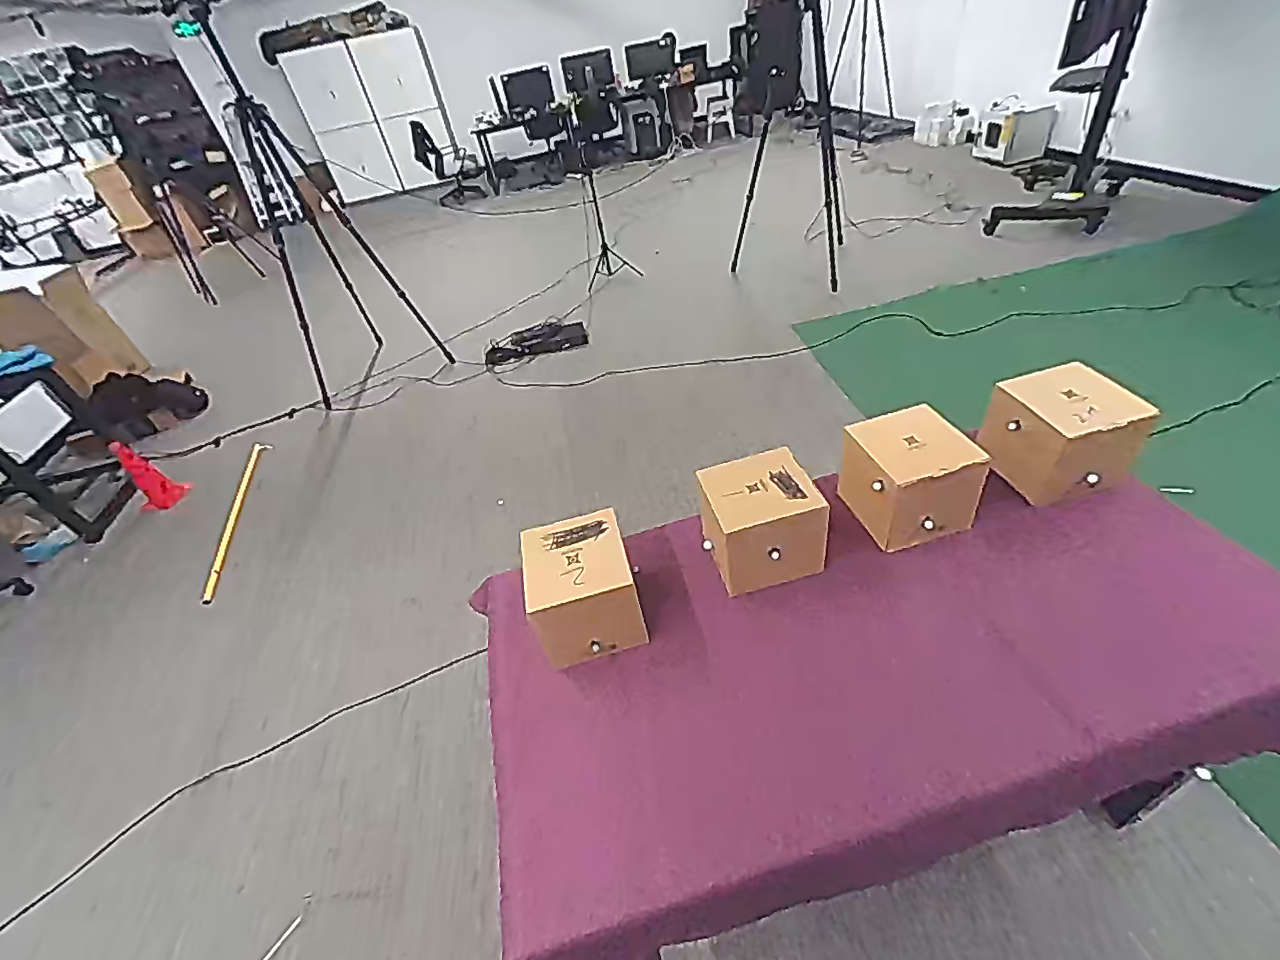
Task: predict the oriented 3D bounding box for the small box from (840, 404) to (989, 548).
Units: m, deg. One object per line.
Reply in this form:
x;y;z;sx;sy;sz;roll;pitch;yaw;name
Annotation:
0.482;-0.007;0.983;0.168;0.176;0.179;-17;42;-4;small box

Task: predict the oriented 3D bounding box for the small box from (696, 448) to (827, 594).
0.212;0.074;0.961;0.179;0.176;0.168;-16;40;-2;small box

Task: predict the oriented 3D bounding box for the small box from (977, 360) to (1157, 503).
0.759;-0.088;0.990;0.168;0.176;0.179;-16;43;-1;small box
